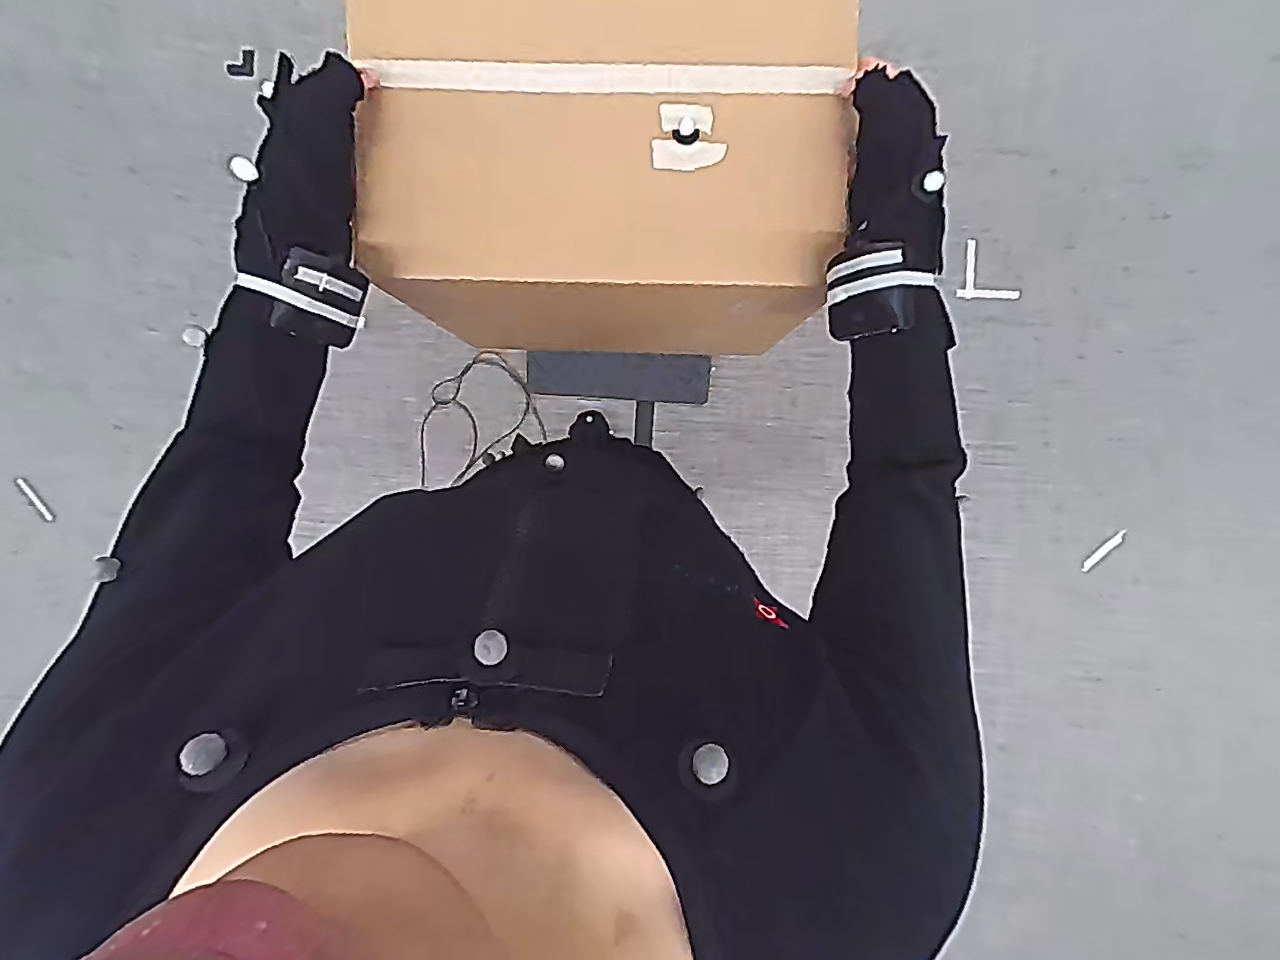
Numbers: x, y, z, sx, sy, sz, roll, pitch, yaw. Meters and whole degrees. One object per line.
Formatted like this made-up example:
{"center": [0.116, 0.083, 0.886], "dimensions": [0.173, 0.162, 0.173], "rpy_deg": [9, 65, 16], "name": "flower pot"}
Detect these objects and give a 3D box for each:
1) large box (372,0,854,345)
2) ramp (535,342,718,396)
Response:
{"center": [-0.025, -0.335, 0.596], "dimensions": [0.408, 0.320, 0.320], "rpy_deg": [1, 93, 0], "name": "large box"}
{"center": [-0.014, -0.726, 1.368], "dimensions": [0.509, 0.206, 0.991], "rpy_deg": [1, 92, -2], "name": "ramp"}
